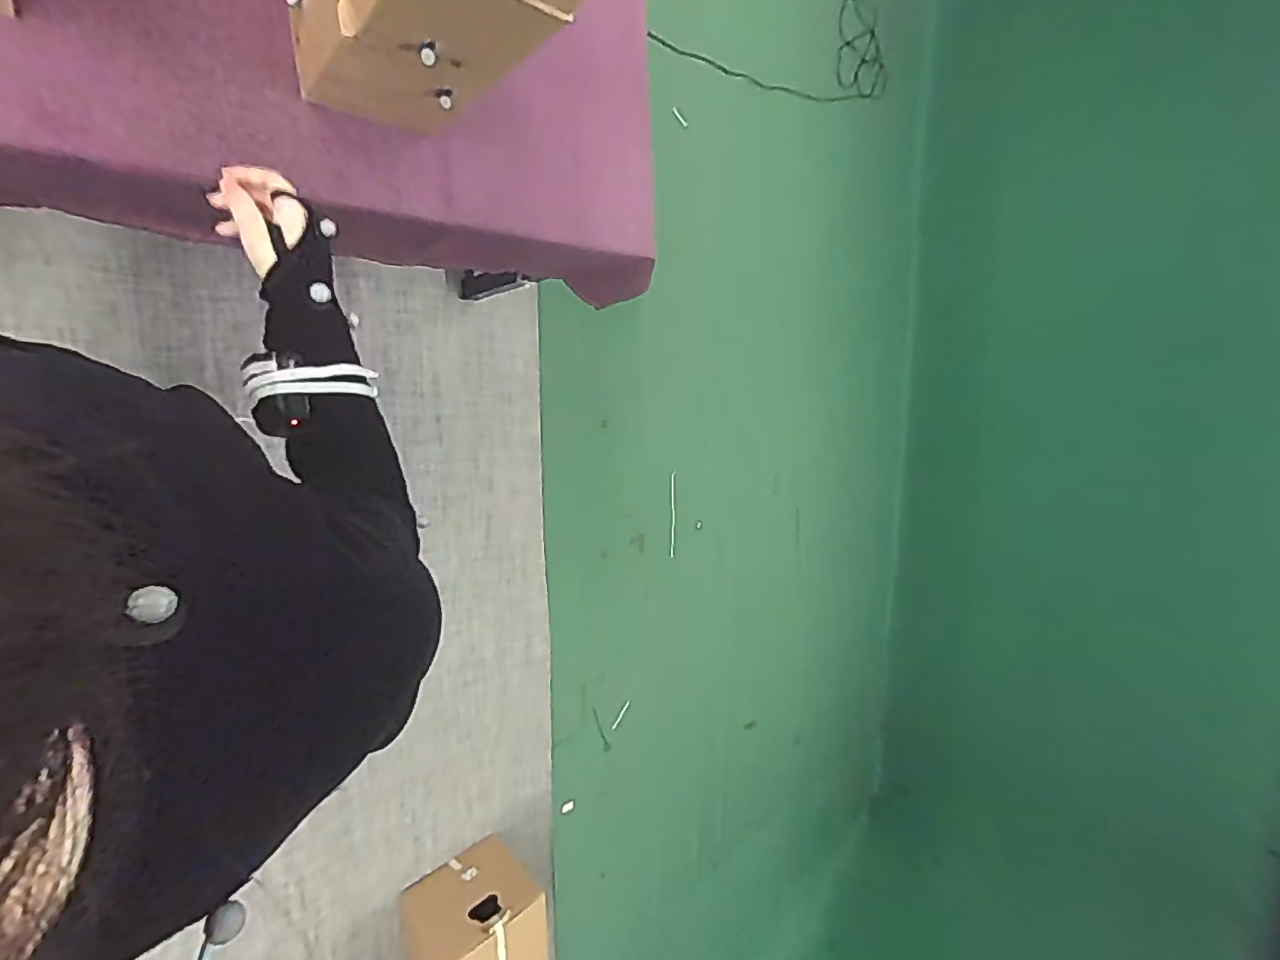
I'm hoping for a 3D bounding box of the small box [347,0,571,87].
[{"bbox_3d":[-0.189,-0.542,0.538,0.168,0.176,0.179,-14,106,-41],"label":"small box"}]

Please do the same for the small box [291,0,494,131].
[{"bbox_3d":[-0.301,-0.556,0.656,0.179,0.176,0.168,-13,104,-42],"label":"small box"}]

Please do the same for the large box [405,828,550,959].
[{"bbox_3d":[-0.498,1.410,1.670,0.320,0.320,0.408,-10,104,-43],"label":"large box"}]
